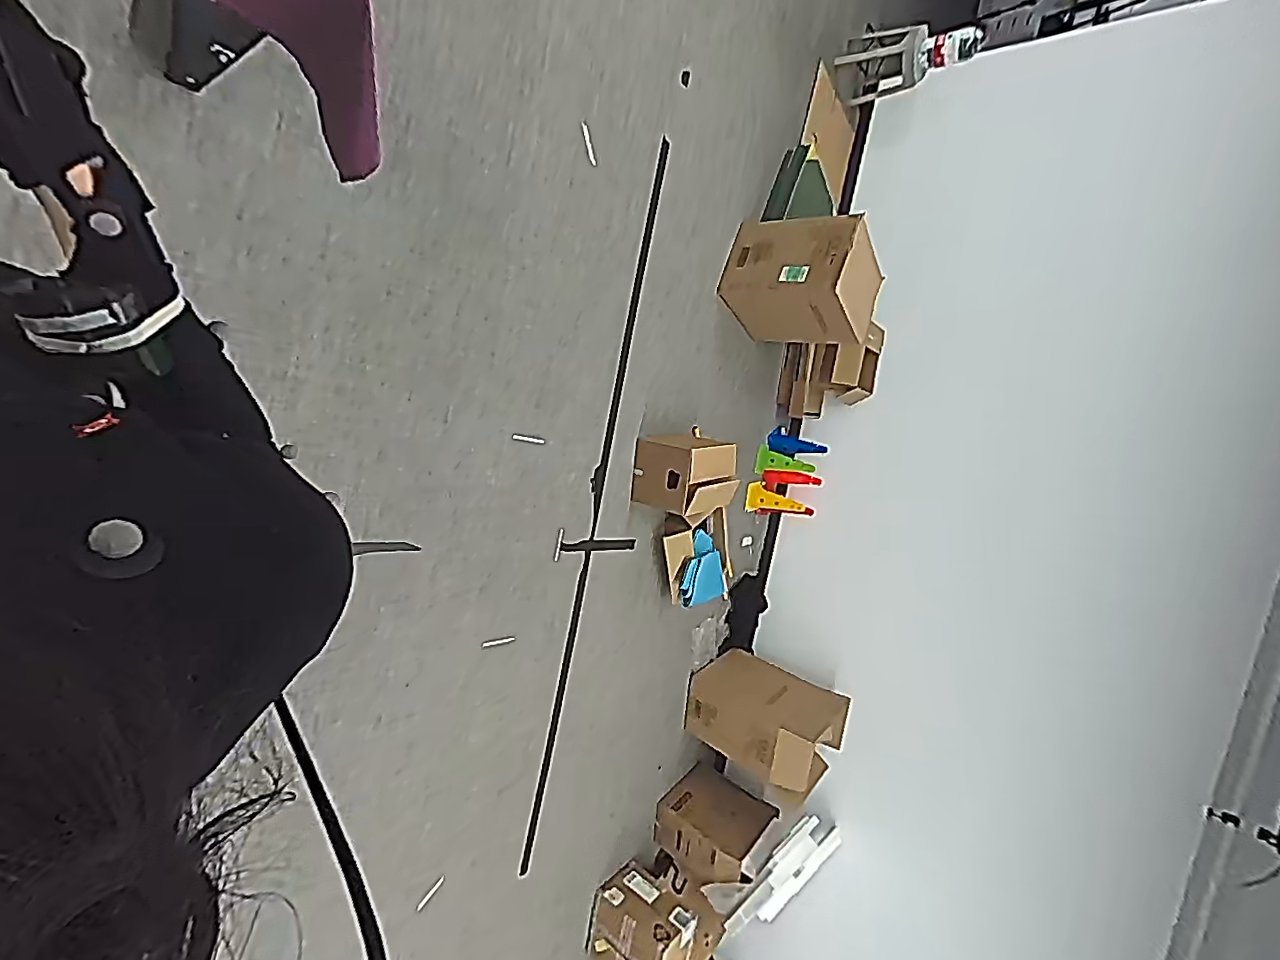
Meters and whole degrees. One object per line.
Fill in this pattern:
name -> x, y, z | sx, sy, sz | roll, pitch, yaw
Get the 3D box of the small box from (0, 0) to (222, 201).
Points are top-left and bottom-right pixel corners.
small box -> -0.383, -0.255, 0.285 | 0.176, 0.168, 0.179 | -98, 171, -49
